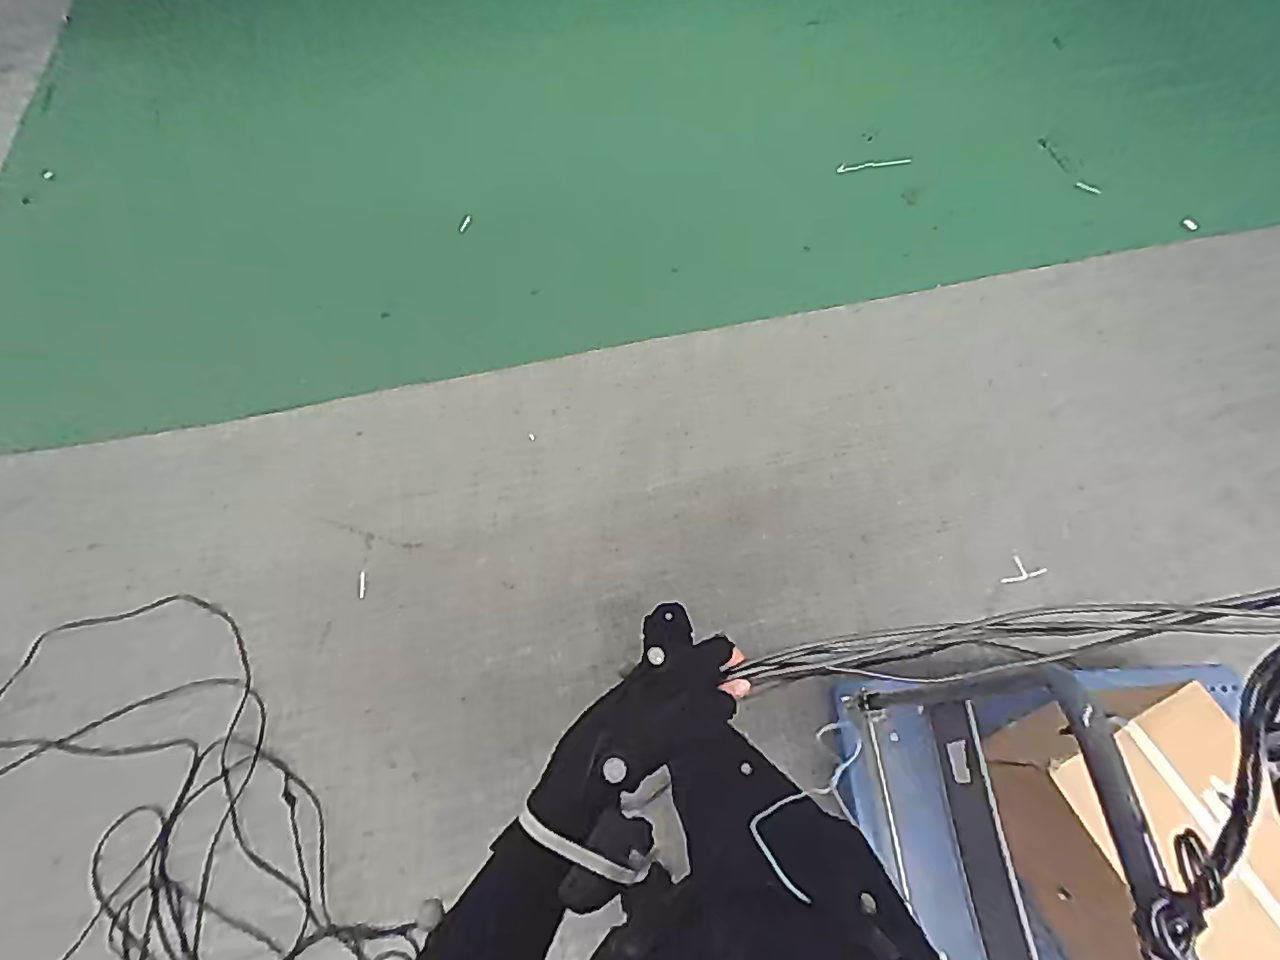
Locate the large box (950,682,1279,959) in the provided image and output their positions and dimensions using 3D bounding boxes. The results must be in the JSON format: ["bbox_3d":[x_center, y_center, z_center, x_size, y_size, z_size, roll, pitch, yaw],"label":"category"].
[{"bbox_3d":[0.836,0.610,0.907,0.320,0.320,0.408,-22,65,-10],"label":"large box"}]
